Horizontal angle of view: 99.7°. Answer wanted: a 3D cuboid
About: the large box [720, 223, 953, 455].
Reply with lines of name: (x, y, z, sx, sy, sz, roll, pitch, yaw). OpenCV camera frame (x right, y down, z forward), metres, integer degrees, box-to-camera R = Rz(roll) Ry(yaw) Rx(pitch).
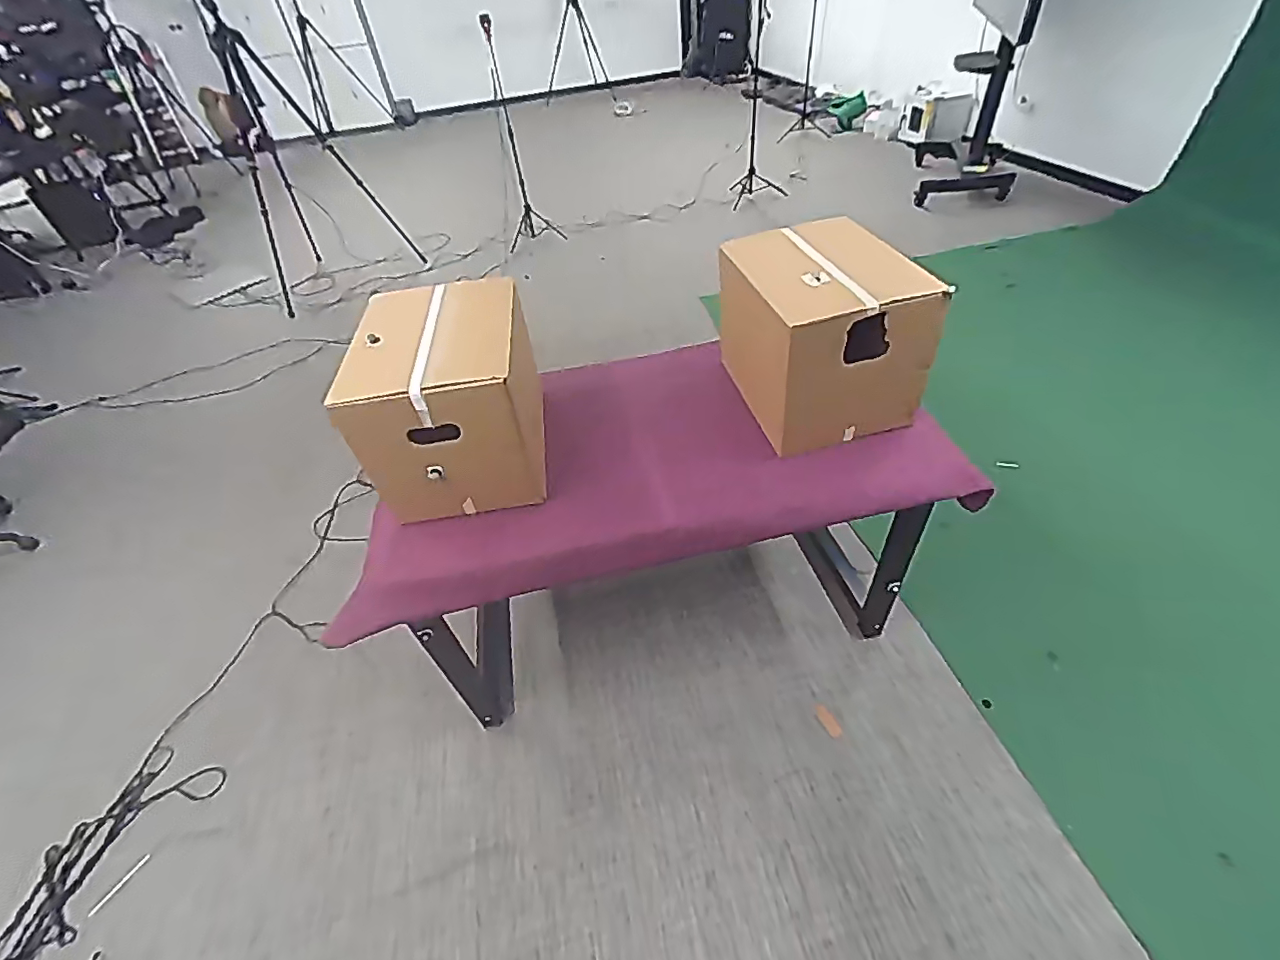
large box: (0.387, -0.320, 1.199, 0.320, 0.320, 0.408, -14, 45, -3)
